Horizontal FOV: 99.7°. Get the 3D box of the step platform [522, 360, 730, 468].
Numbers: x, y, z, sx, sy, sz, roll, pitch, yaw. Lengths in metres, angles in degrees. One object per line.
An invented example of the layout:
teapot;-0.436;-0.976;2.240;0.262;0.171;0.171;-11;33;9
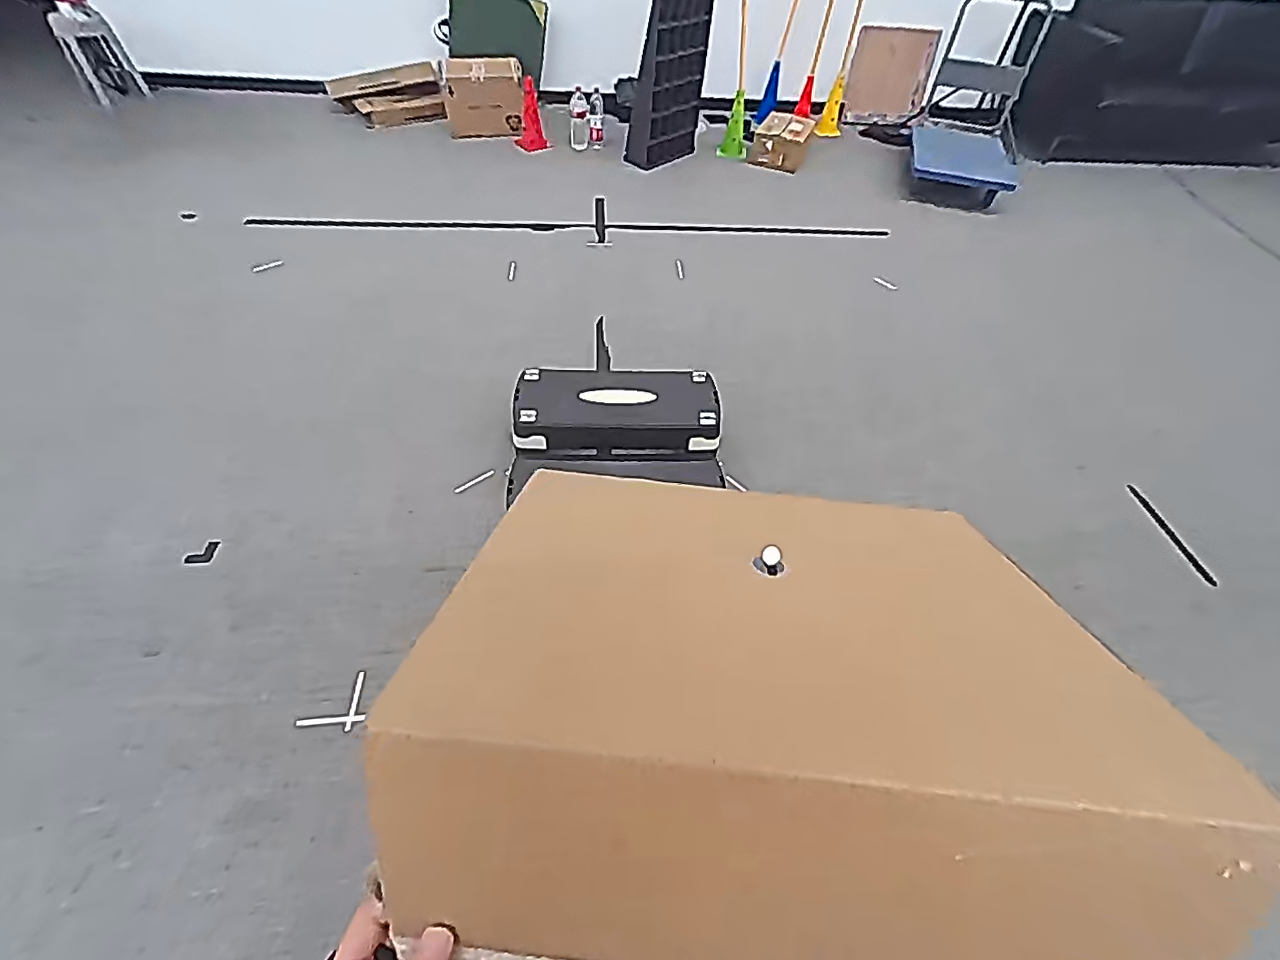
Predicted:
step platform;-0.044;-0.224;1.810;0.684;0.204;0.286;4;50;-2
